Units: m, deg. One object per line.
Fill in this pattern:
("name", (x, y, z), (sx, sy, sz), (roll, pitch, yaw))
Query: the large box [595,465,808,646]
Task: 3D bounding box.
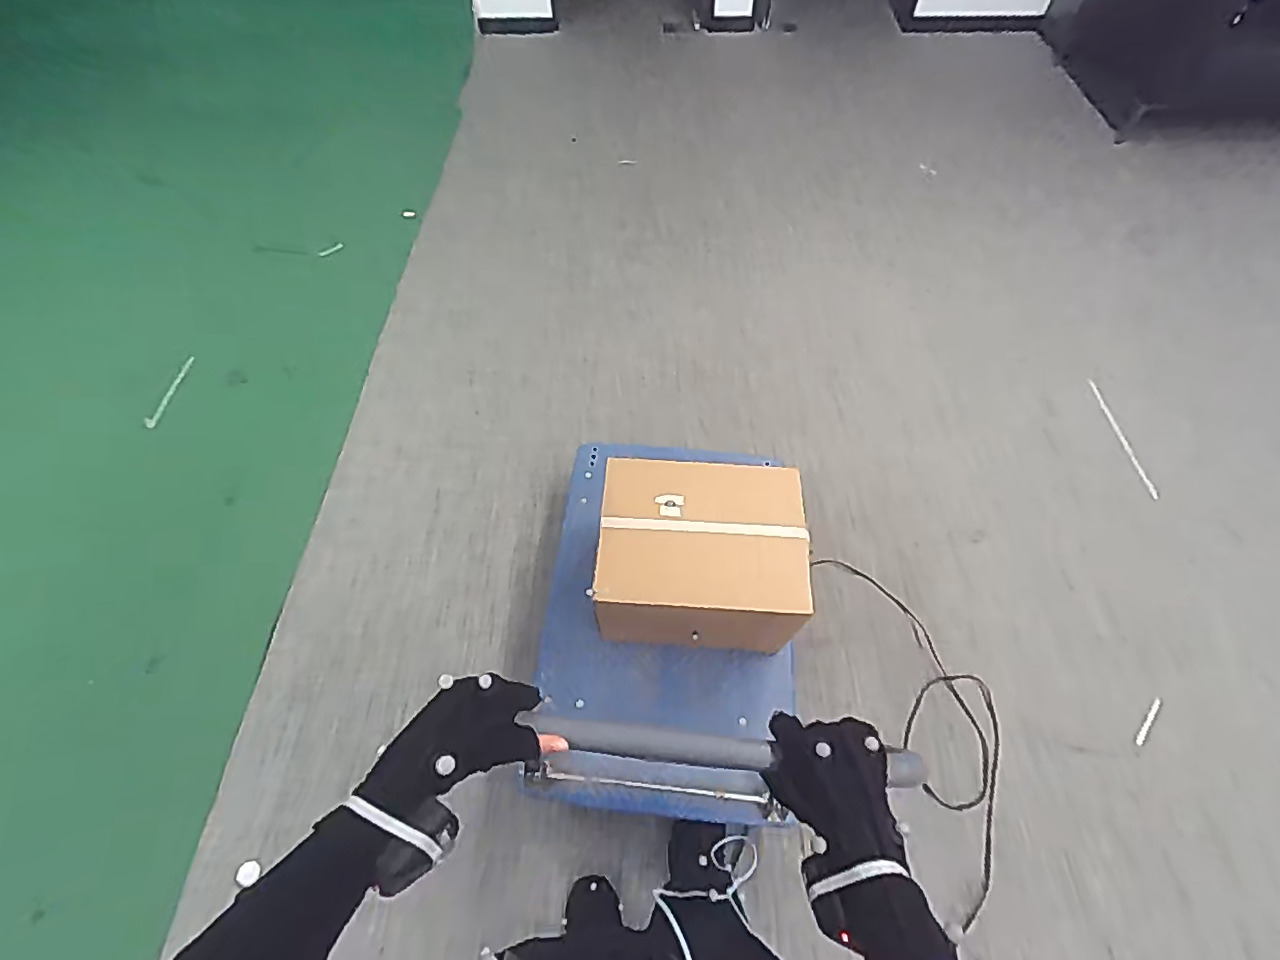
("large box", (0.125, 0.178, 1.204), (0.408, 0.320, 0.320), (2, 59, 3))
